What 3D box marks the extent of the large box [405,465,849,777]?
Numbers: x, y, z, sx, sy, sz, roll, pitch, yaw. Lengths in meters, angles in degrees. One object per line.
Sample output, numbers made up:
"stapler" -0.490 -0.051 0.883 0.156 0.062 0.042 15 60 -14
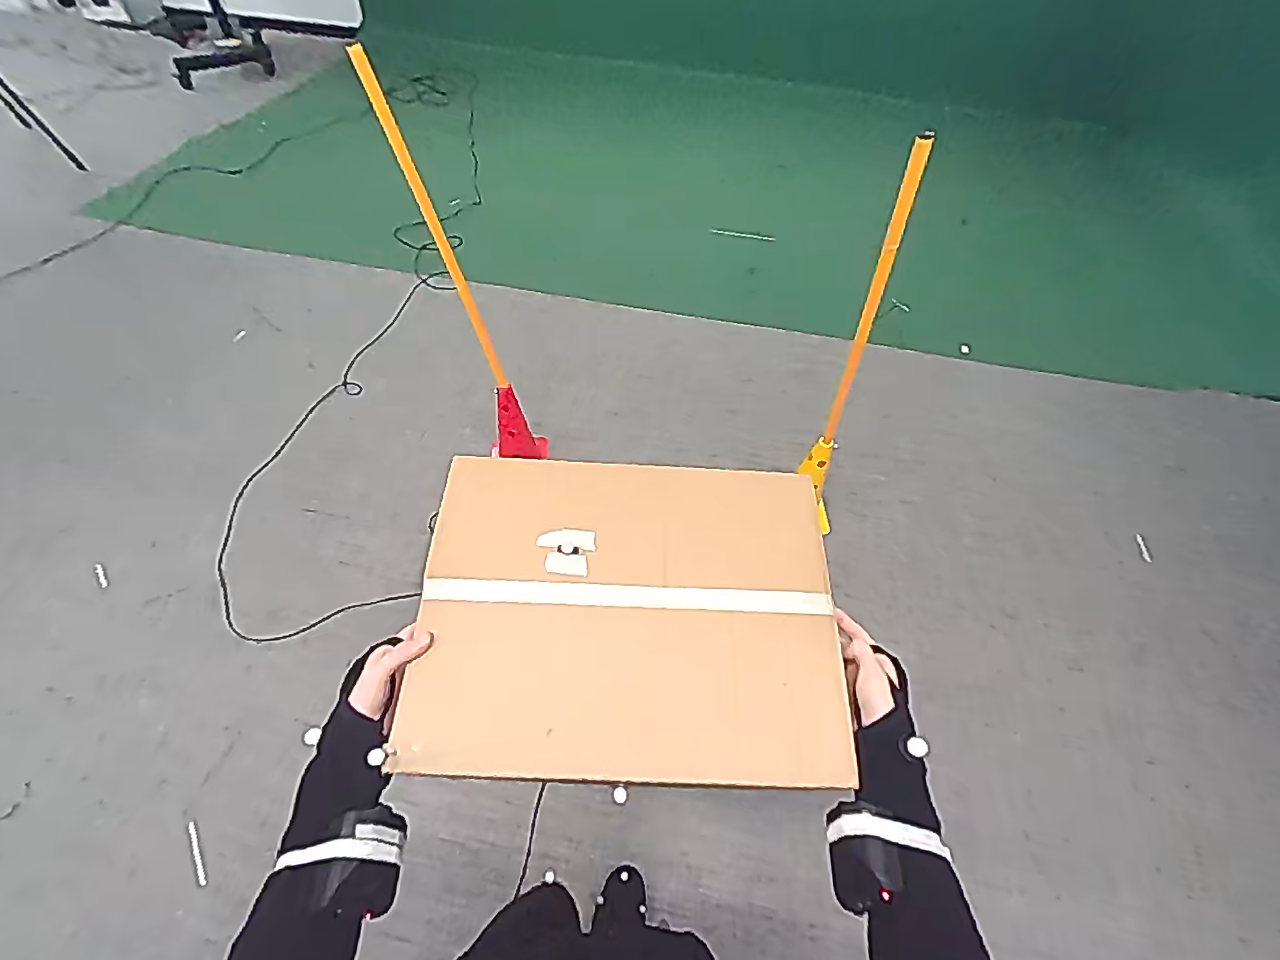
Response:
"large box" -0.011 0.194 0.680 0.408 0.320 0.320 2 59 -1
